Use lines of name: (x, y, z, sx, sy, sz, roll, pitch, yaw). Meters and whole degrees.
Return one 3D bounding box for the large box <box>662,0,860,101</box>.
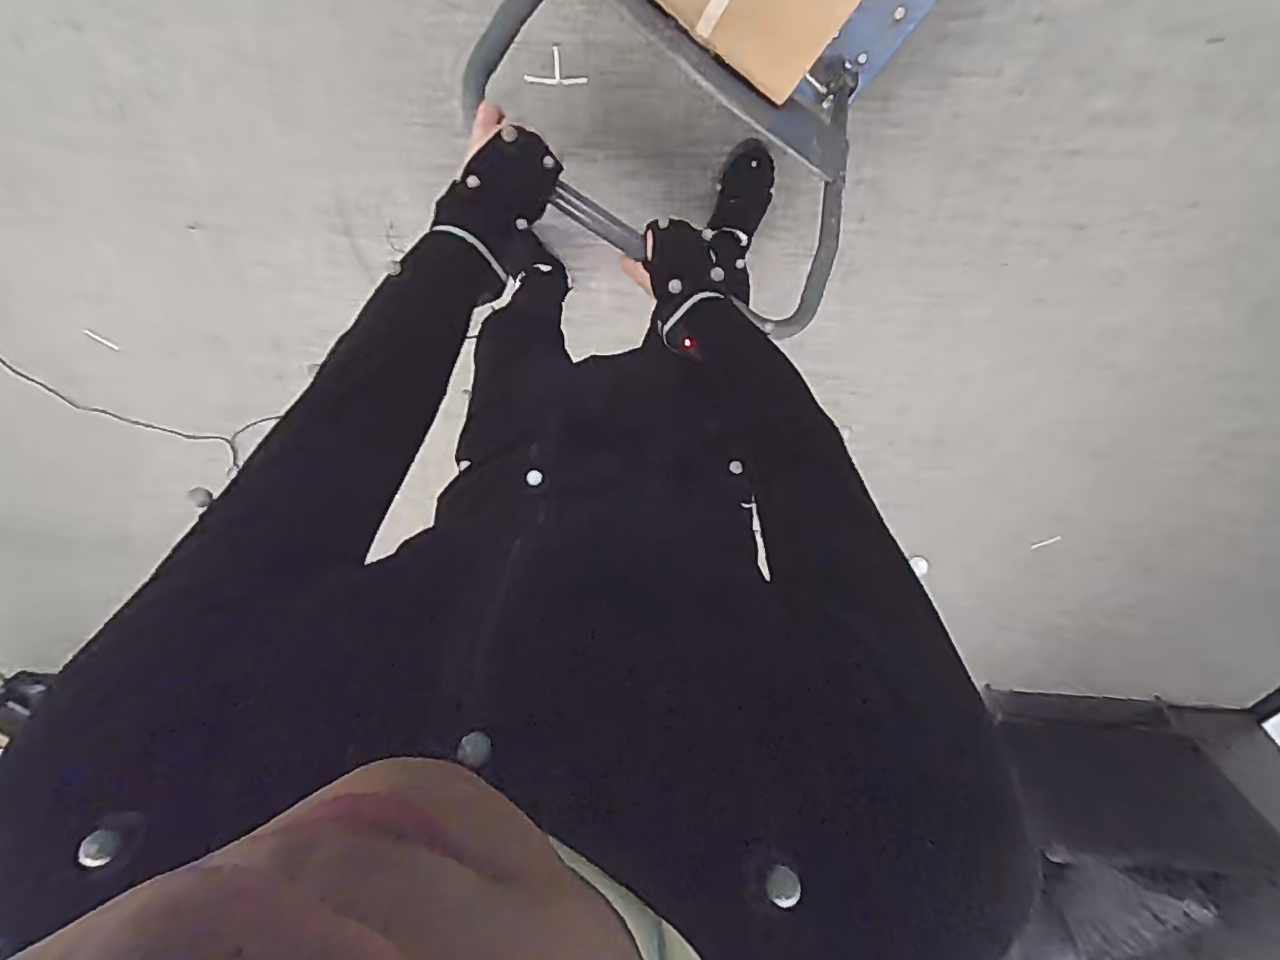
large box: (0.217, -0.837, 0.708, 0.320, 0.320, 0.408, 27, 143, -19)
